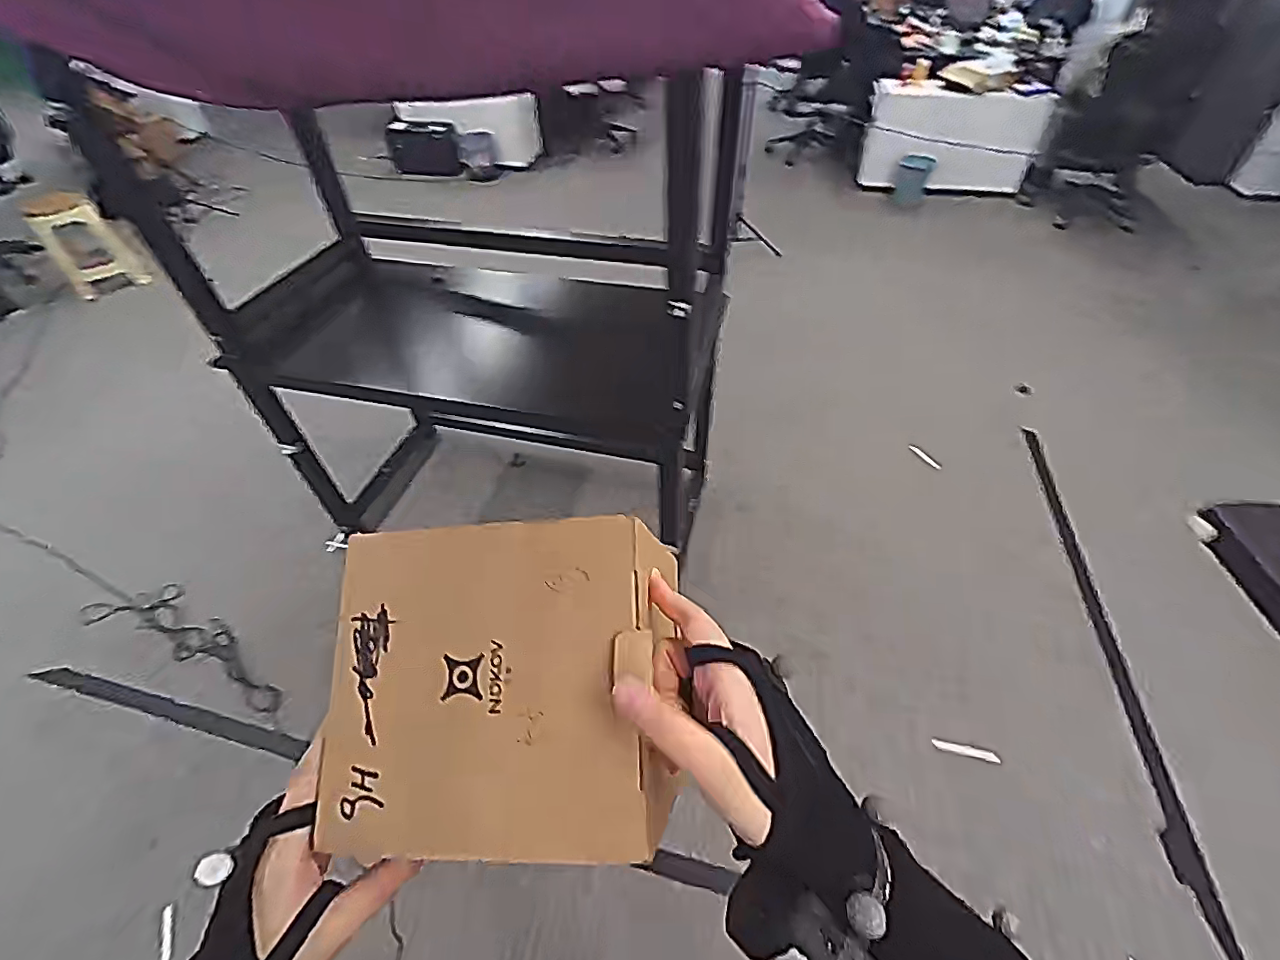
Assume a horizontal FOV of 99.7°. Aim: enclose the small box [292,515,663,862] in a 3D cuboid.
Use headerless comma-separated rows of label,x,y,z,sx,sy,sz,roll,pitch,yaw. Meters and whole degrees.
small box,-0.077,0.121,0.354,0.179,0.176,0.168,-3,73,8
